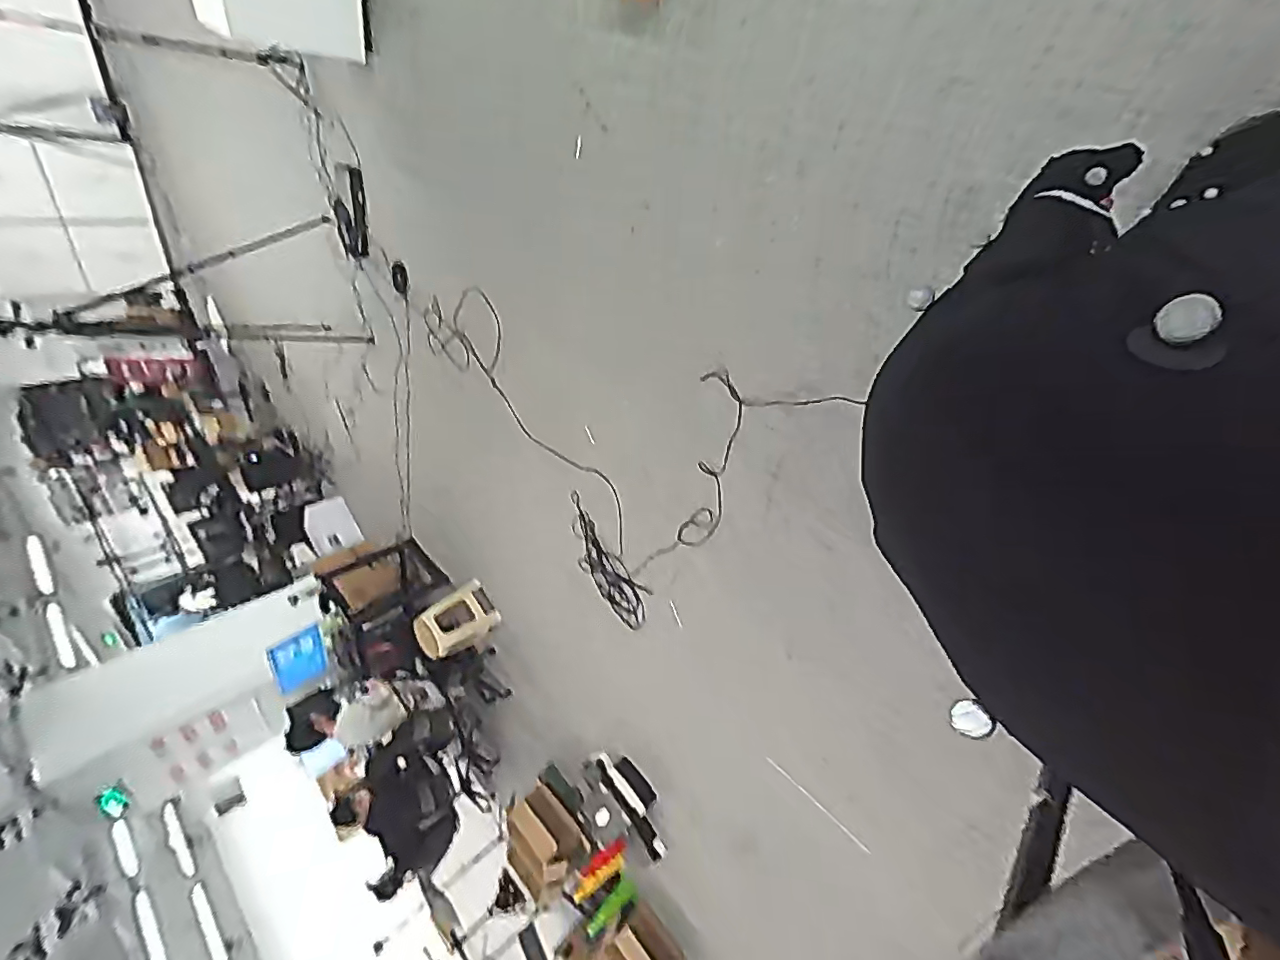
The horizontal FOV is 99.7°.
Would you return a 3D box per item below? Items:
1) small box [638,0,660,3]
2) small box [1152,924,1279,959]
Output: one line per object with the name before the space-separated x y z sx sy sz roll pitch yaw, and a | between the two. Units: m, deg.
small box | -0.034 -1.446 1.487 0.179 0.176 0.168 37 132 28
small box | 0.719 0.660 0.600 0.179 0.176 0.168 35 130 28
